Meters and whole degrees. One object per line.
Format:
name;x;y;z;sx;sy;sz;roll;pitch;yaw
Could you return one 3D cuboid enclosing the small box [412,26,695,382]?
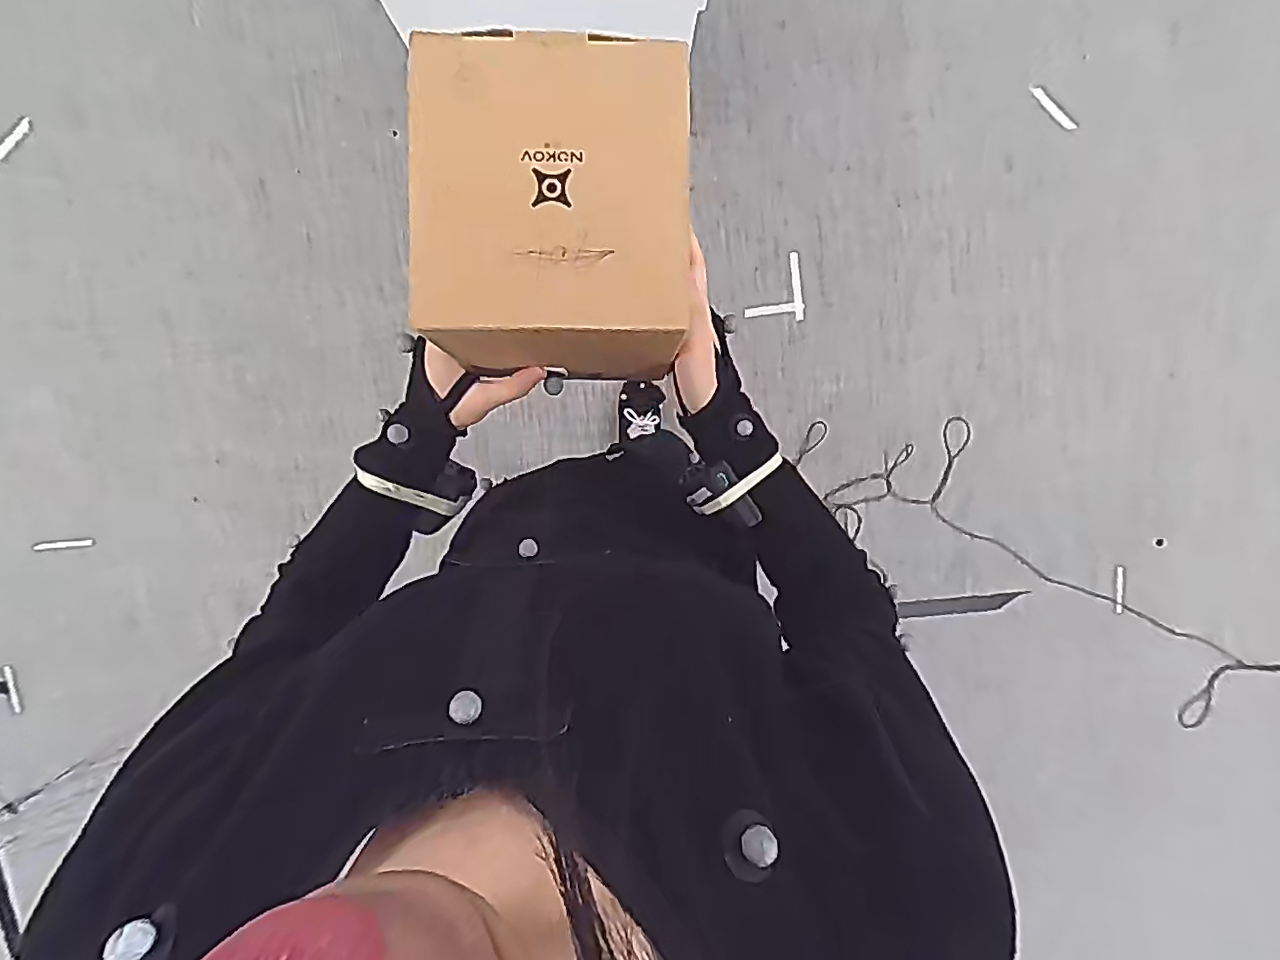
small box;-0.055;-0.176;0.397;0.168;0.176;0.179;0;90;-3
